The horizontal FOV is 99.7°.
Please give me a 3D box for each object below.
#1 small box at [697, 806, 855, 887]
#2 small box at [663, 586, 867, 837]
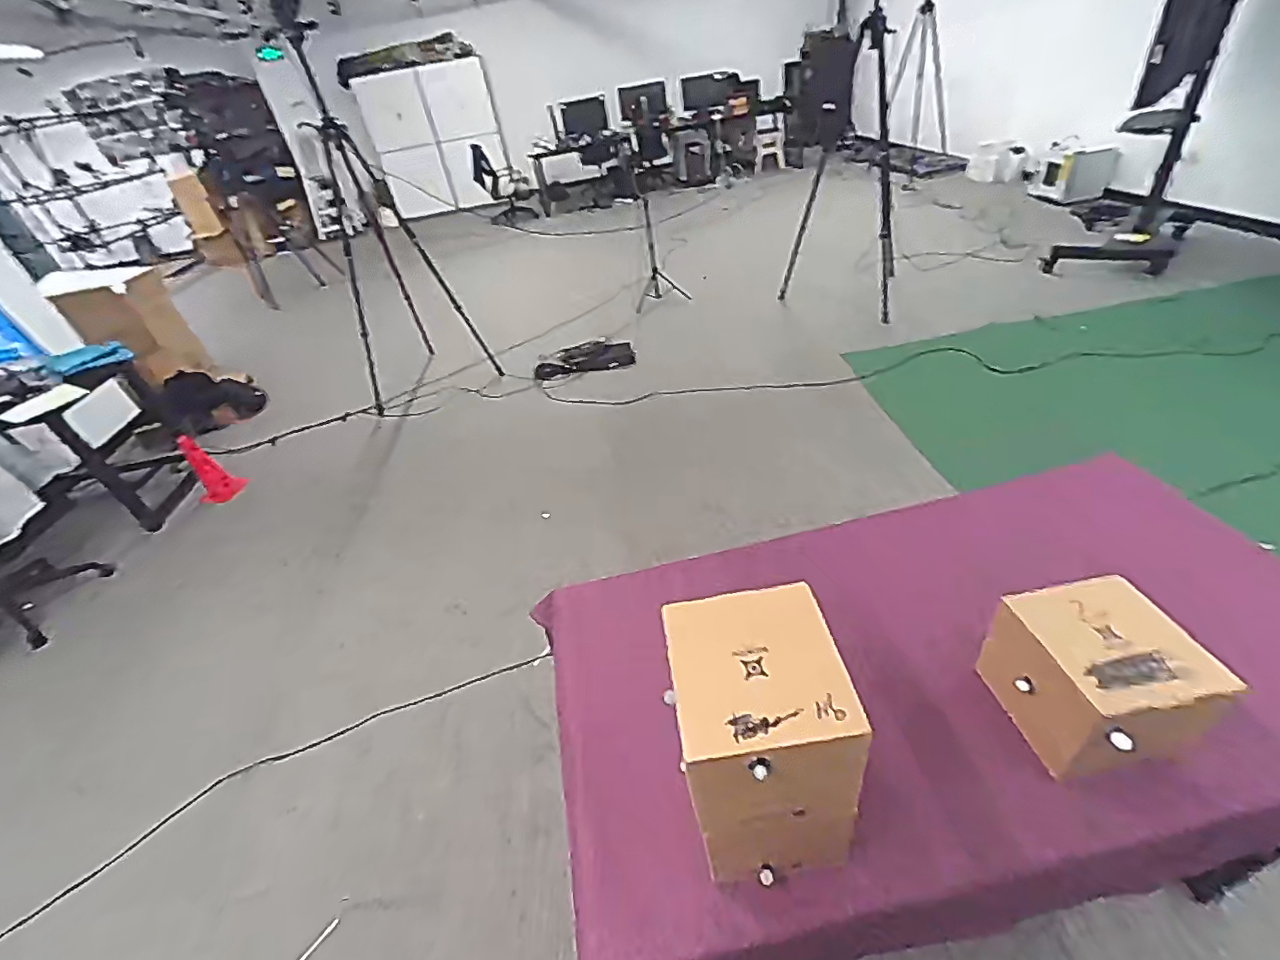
[{"bbox_3d":[0.152,0.374,0.682,0.168,0.176,0.179,-11,38,2],"label":"small box"},{"bbox_3d":[0.124,0.245,0.582,0.168,0.176,0.179,-12,36,3],"label":"small box"}]
